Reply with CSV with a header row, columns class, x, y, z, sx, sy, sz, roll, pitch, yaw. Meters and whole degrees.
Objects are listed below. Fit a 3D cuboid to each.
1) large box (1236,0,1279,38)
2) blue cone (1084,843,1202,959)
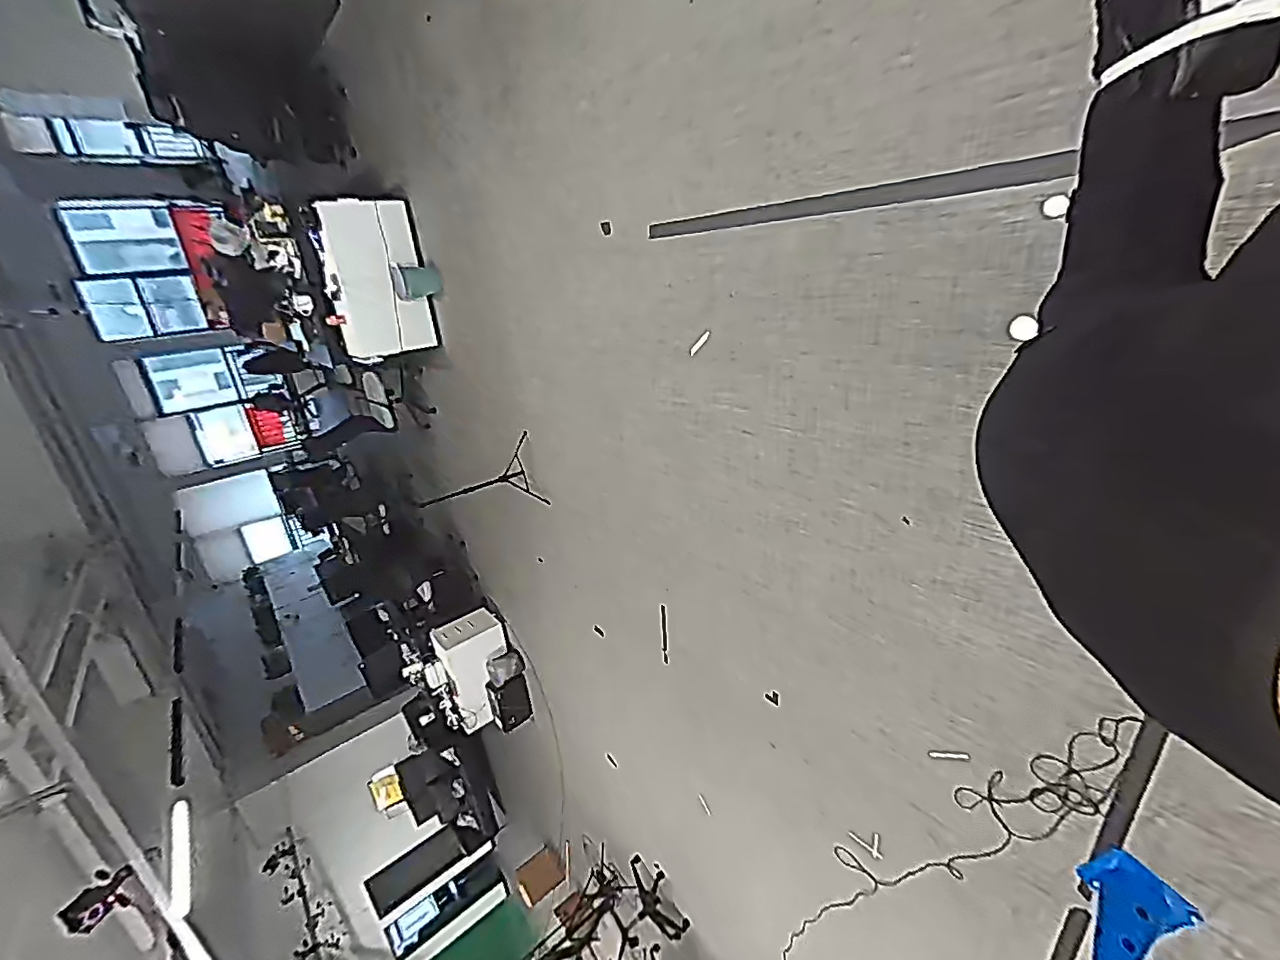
class,x,y,z,sx,sy,sz,roll,pitch,yaw
large box,0.573,-0.479,0.231,0.408,0.320,0.320,13,121,50
blue cone,1.224,1.144,1.369,0.193,0.380,0.192,42,138,32
